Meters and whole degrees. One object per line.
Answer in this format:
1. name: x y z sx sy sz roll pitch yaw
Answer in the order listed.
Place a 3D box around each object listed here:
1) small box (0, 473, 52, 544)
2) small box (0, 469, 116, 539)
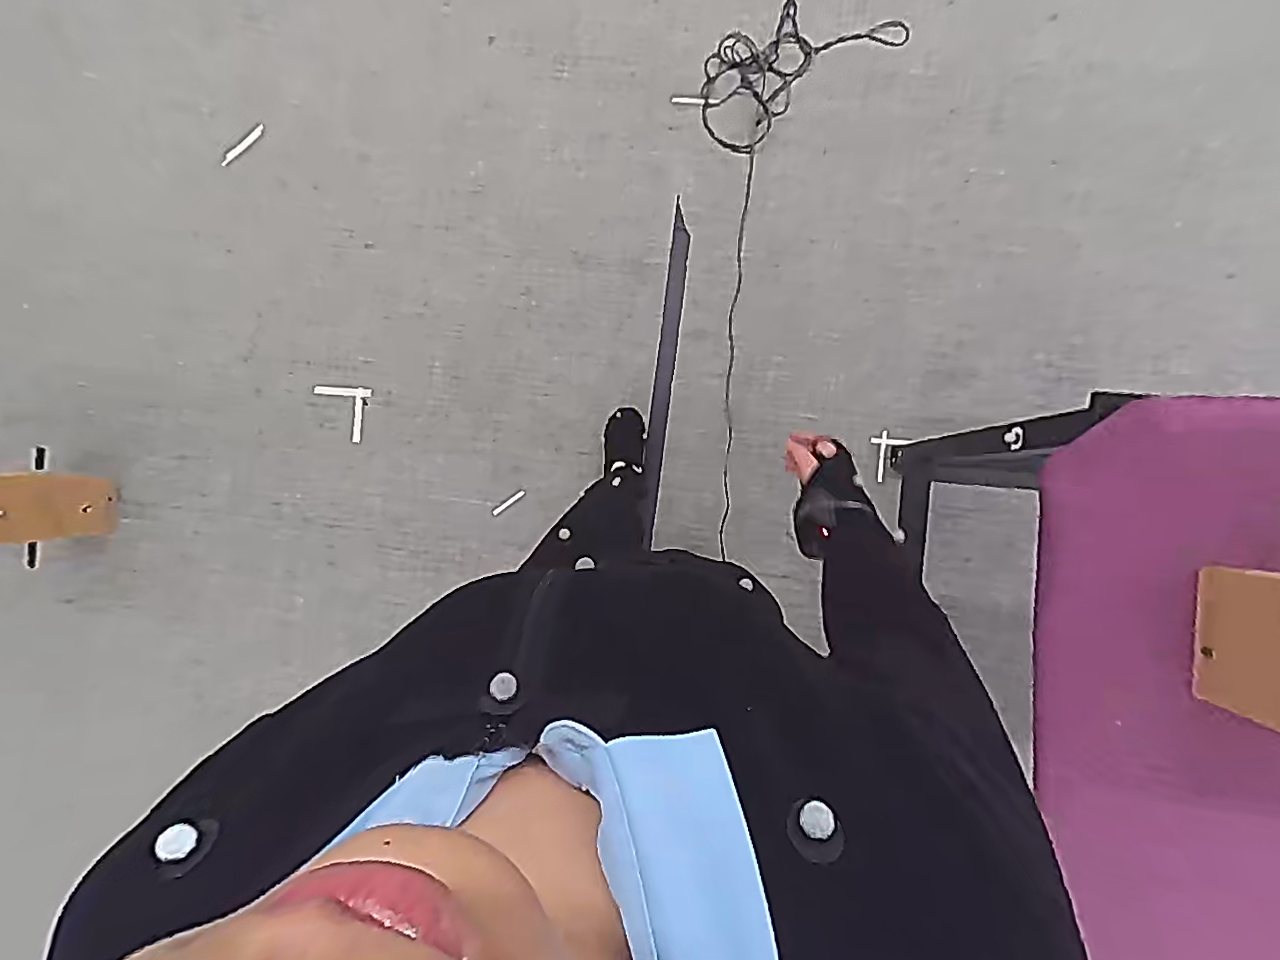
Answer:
1. small box: -1.656 0.070 1.370 0.168 0.176 0.179 0 91 4
2. small box: -1.652 0.064 1.533 0.179 0.176 0.168 9 90 5
